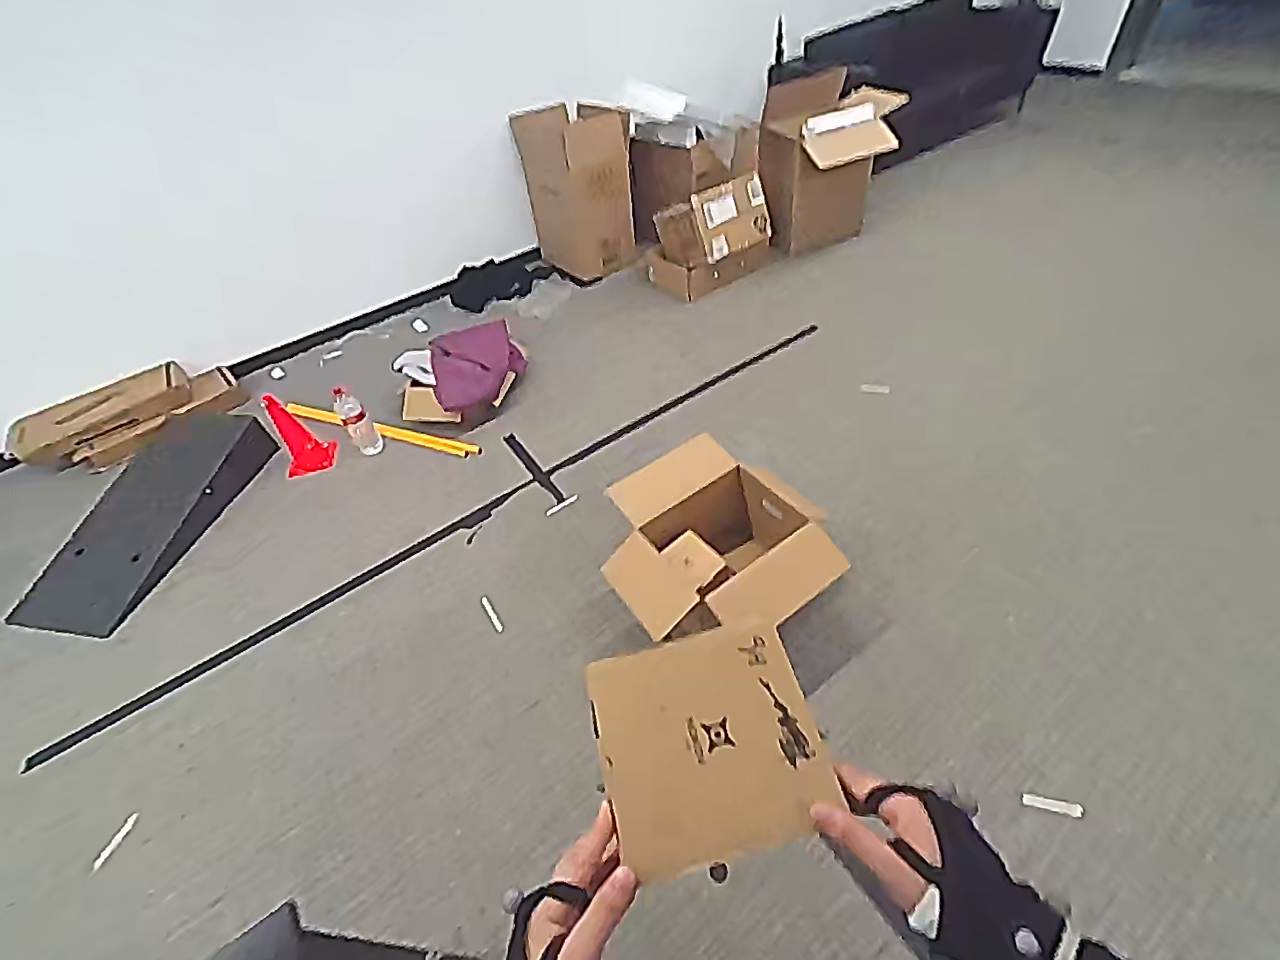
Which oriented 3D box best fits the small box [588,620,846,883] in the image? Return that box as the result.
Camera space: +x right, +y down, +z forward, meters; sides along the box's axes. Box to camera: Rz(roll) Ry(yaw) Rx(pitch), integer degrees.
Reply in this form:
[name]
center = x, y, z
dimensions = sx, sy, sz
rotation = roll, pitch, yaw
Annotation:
[small box]
center = 0.061, 0.257, 0.507
dimensions = 0.179, 0.176, 0.168
rotation = -14, 55, -4
